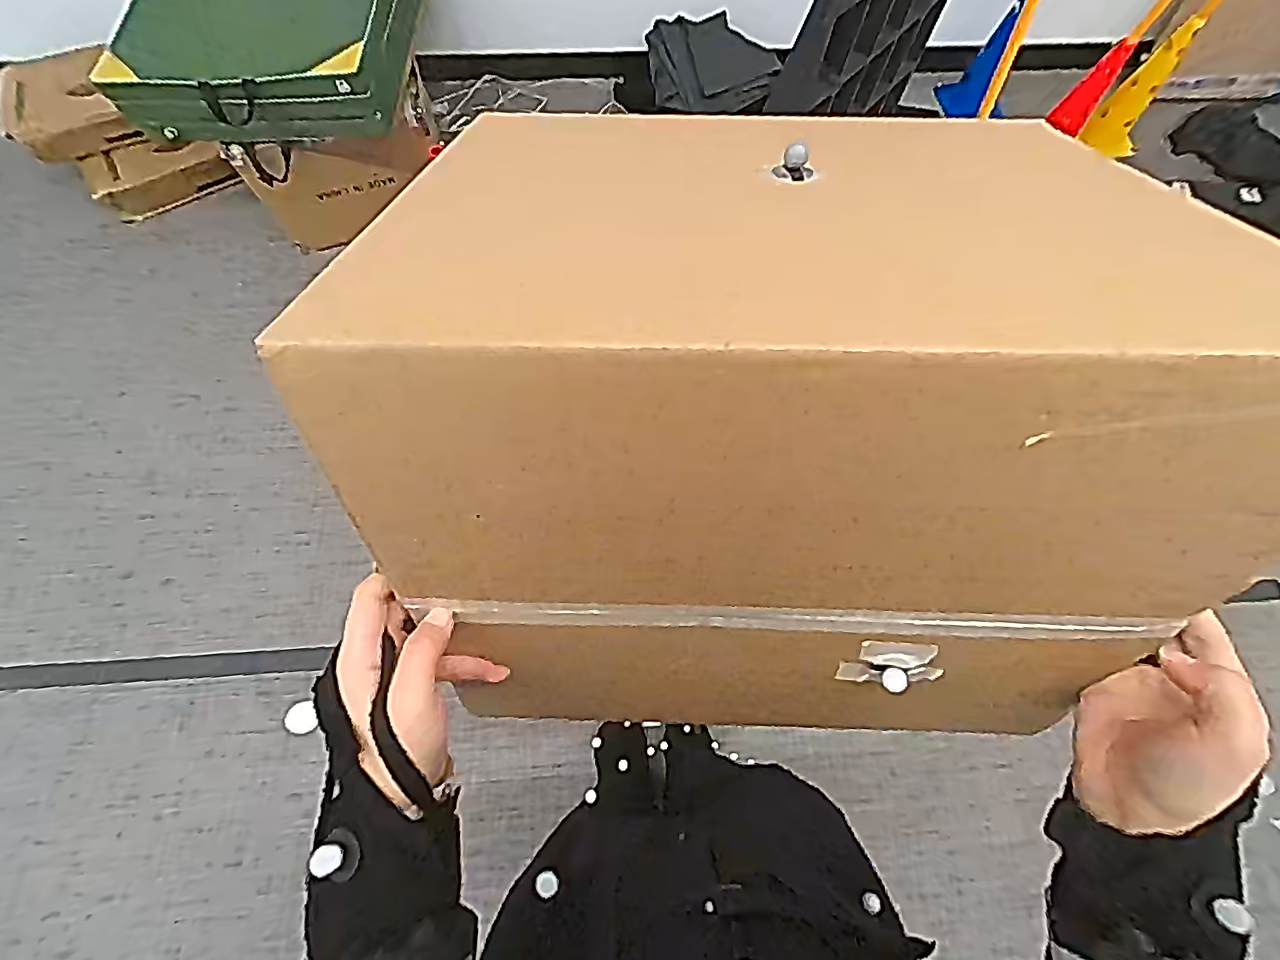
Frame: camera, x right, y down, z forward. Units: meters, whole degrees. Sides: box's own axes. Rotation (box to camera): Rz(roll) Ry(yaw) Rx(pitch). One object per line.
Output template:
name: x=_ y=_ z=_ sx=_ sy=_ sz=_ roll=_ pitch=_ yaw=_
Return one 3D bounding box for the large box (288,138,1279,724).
large box: x=0.073 y=-0.036 z=0.396 sx=0.408 sy=0.320 sz=0.320 roll=0 pitch=46 yaw=1
